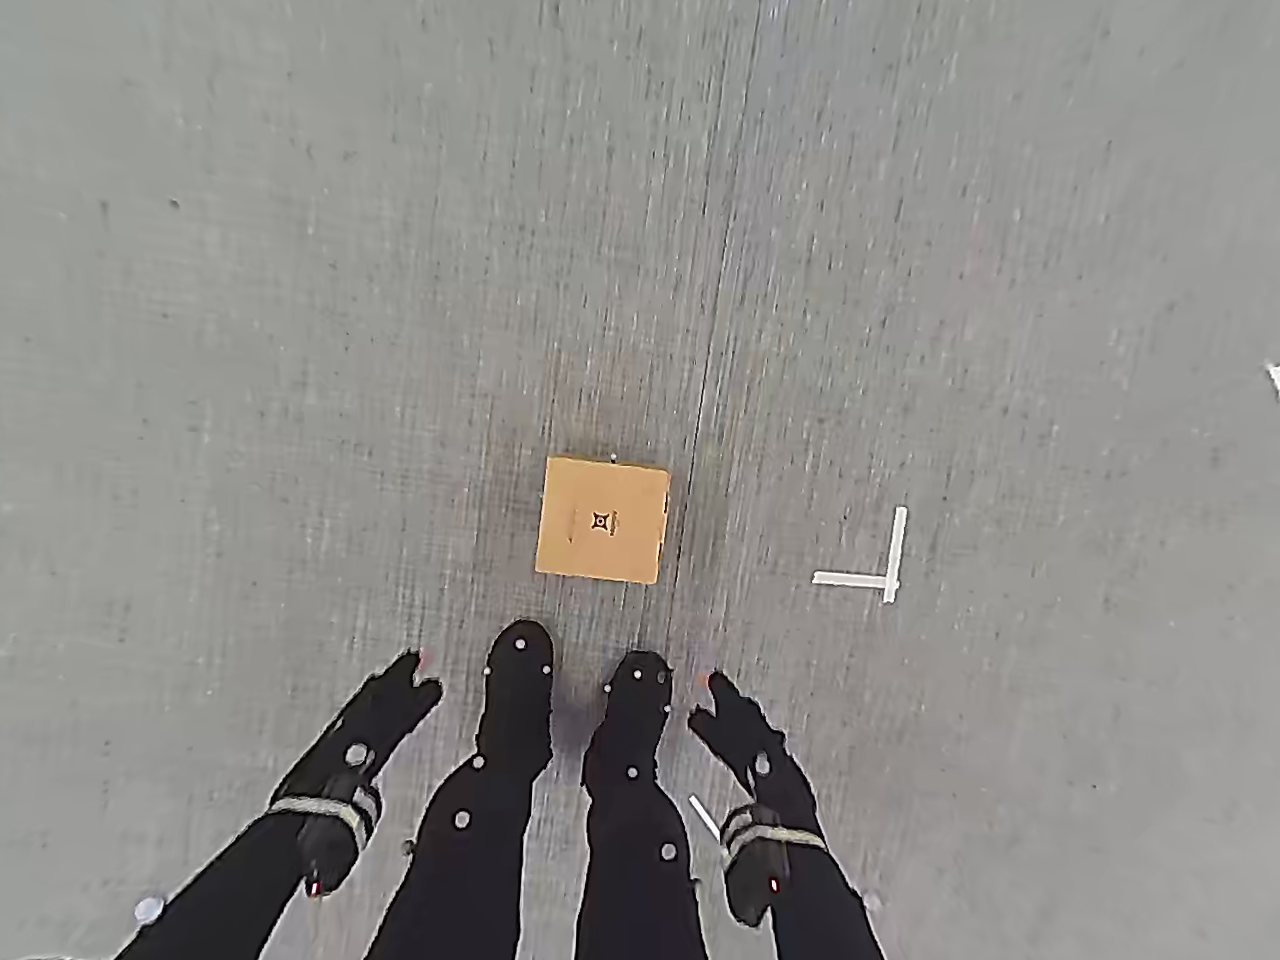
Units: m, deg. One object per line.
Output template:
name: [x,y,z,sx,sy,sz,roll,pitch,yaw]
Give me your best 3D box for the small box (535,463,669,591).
small box: [-0.060,0.065,0.847,0.179,0.176,0.168,7,93,-4]
